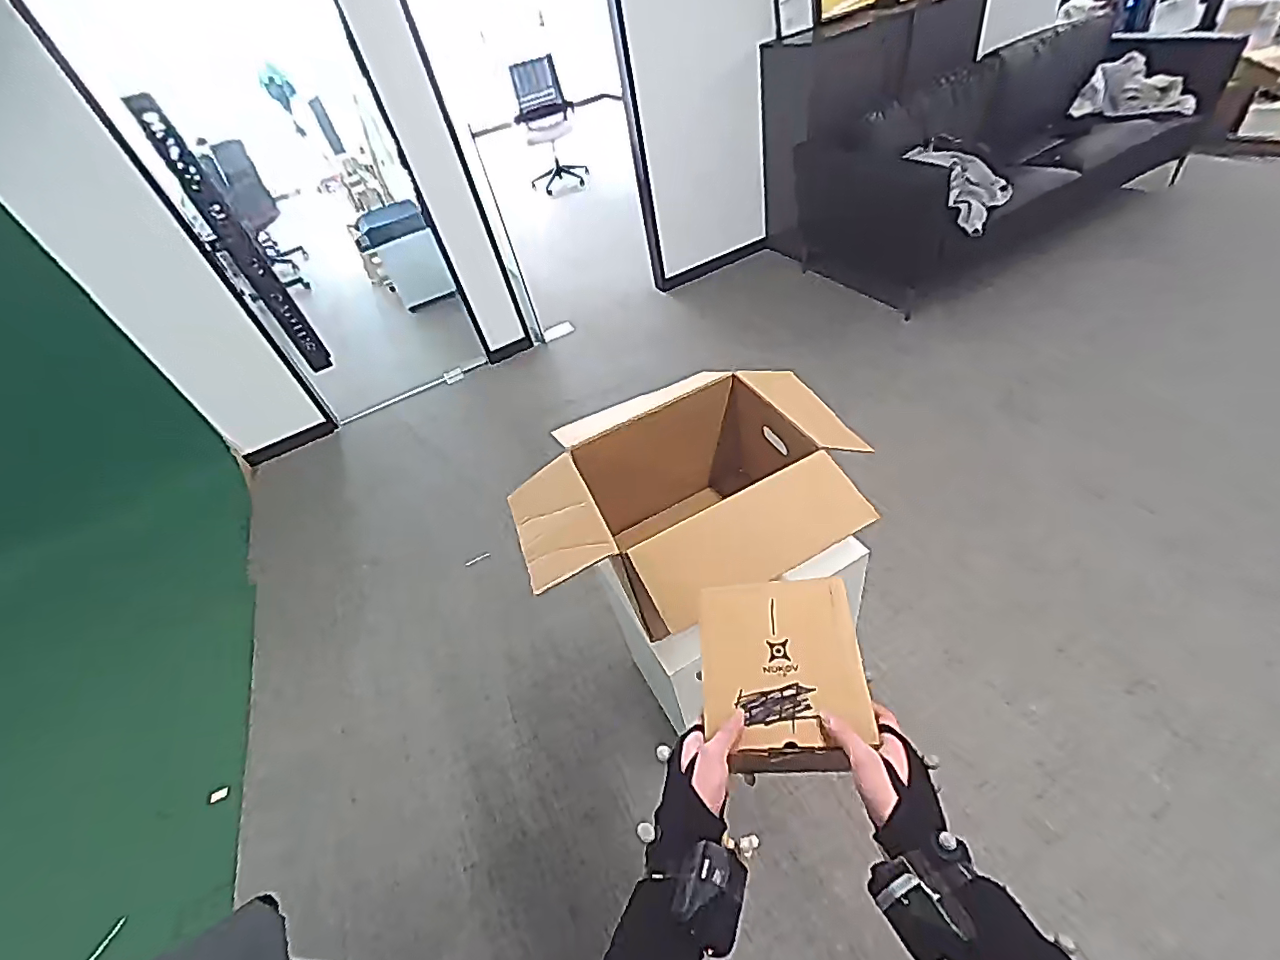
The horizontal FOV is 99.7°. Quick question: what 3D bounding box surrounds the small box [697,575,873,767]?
[{"bbox_3d":[0.162,0.230,0.631,0.168,0.176,0.179,-7,54,11],"label":"small box"}]
